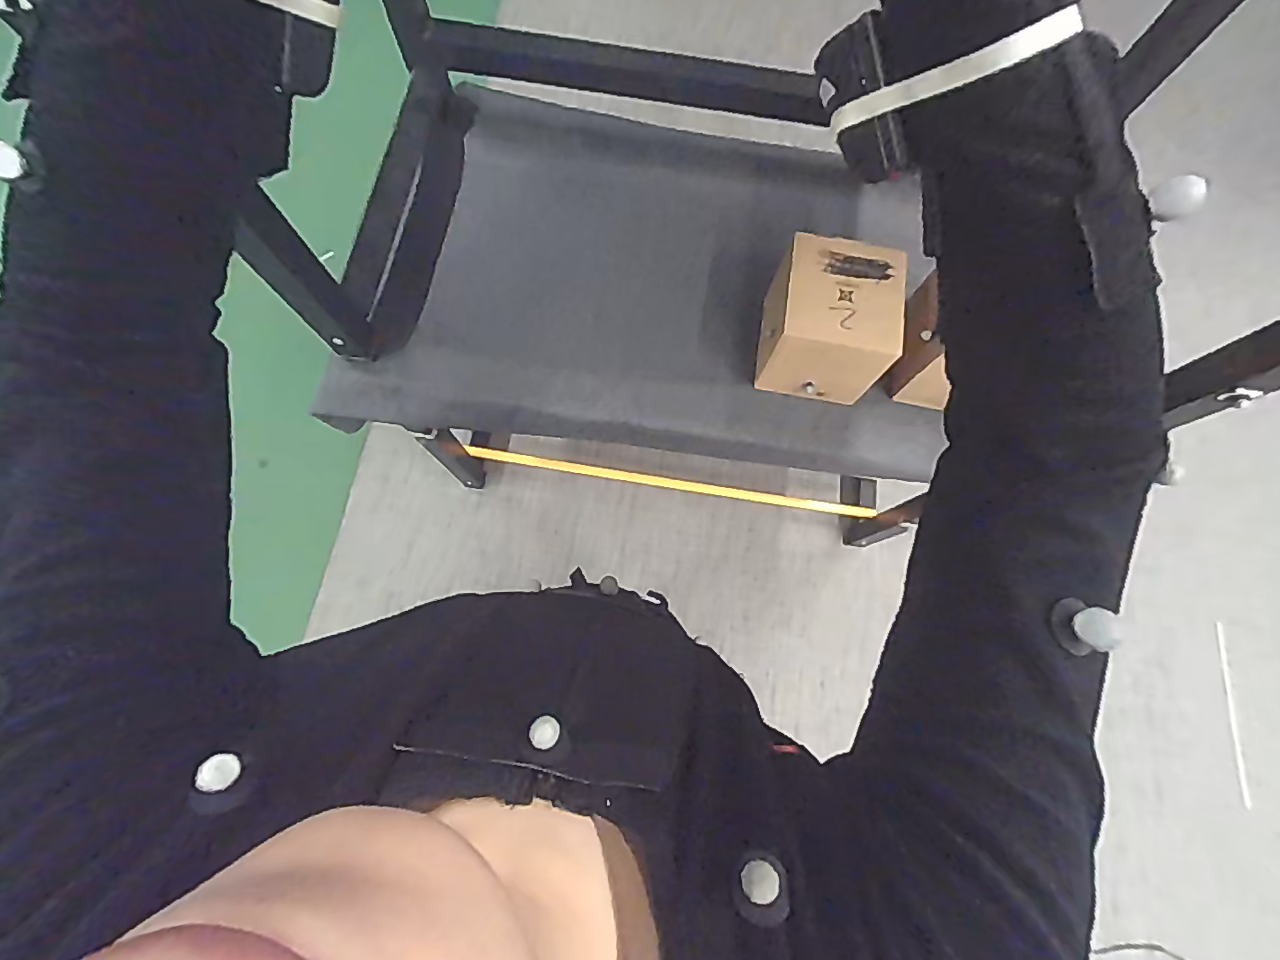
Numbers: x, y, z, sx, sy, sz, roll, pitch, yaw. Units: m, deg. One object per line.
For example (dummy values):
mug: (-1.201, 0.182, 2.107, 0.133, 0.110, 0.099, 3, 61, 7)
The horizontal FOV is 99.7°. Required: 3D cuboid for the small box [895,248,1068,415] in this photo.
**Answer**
small box: (0.516, -0.219, 0.837, 0.168, 0.176, 0.179, 12, 73, 1)
